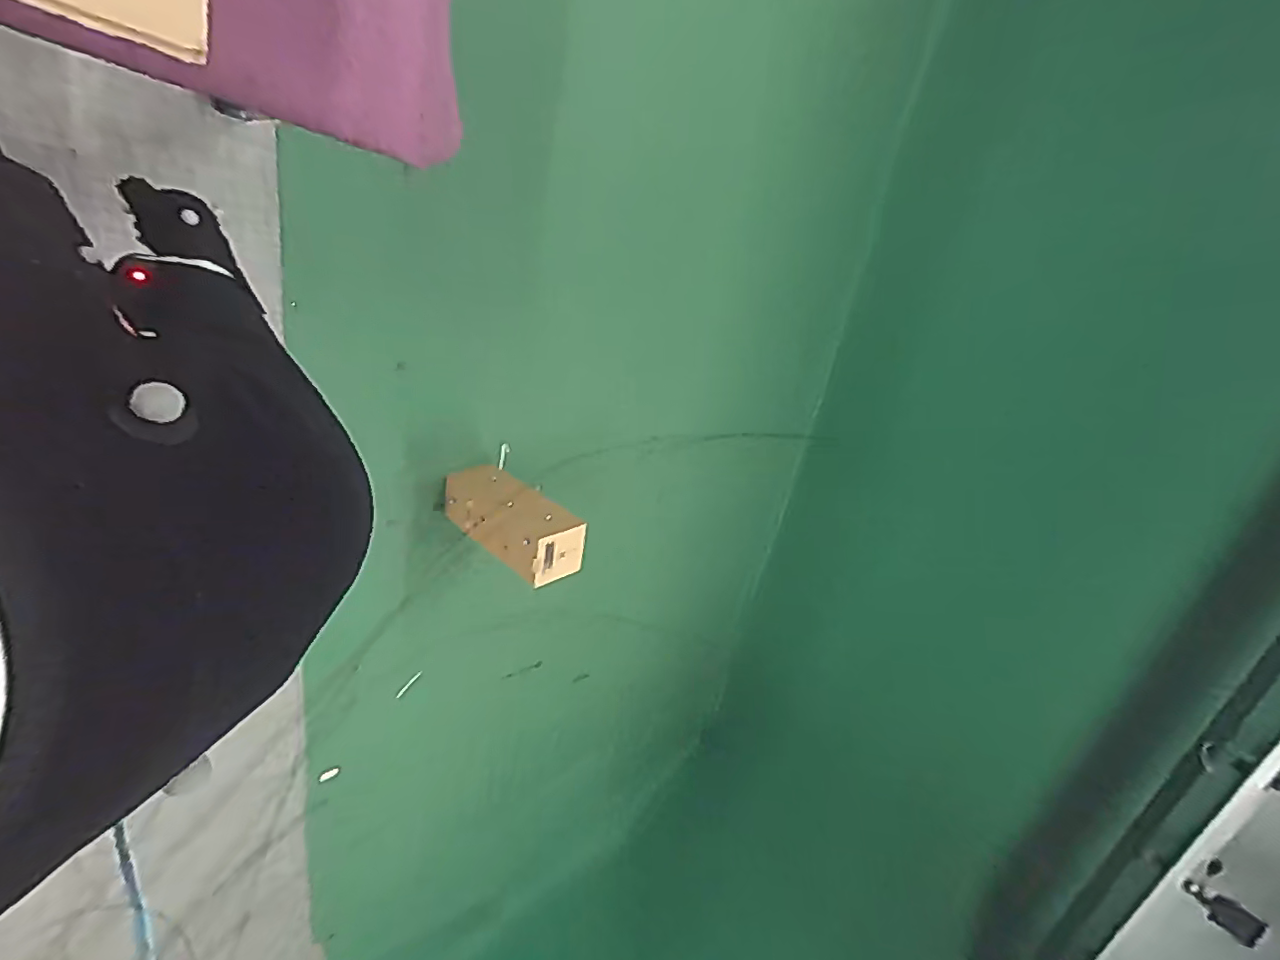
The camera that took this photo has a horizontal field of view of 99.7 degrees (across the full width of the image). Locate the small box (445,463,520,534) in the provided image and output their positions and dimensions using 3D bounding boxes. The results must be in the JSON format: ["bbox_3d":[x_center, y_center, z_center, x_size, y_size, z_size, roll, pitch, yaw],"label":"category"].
[{"bbox_3d":[-0.525,0.053,1.805,0.179,0.176,0.168,-14,123,-46],"label":"small box"}]

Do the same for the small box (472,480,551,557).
[{"bbox_3d":[-0.408,0.113,1.709,0.179,0.176,0.168,-16,125,-44],"label":"small box"}]
